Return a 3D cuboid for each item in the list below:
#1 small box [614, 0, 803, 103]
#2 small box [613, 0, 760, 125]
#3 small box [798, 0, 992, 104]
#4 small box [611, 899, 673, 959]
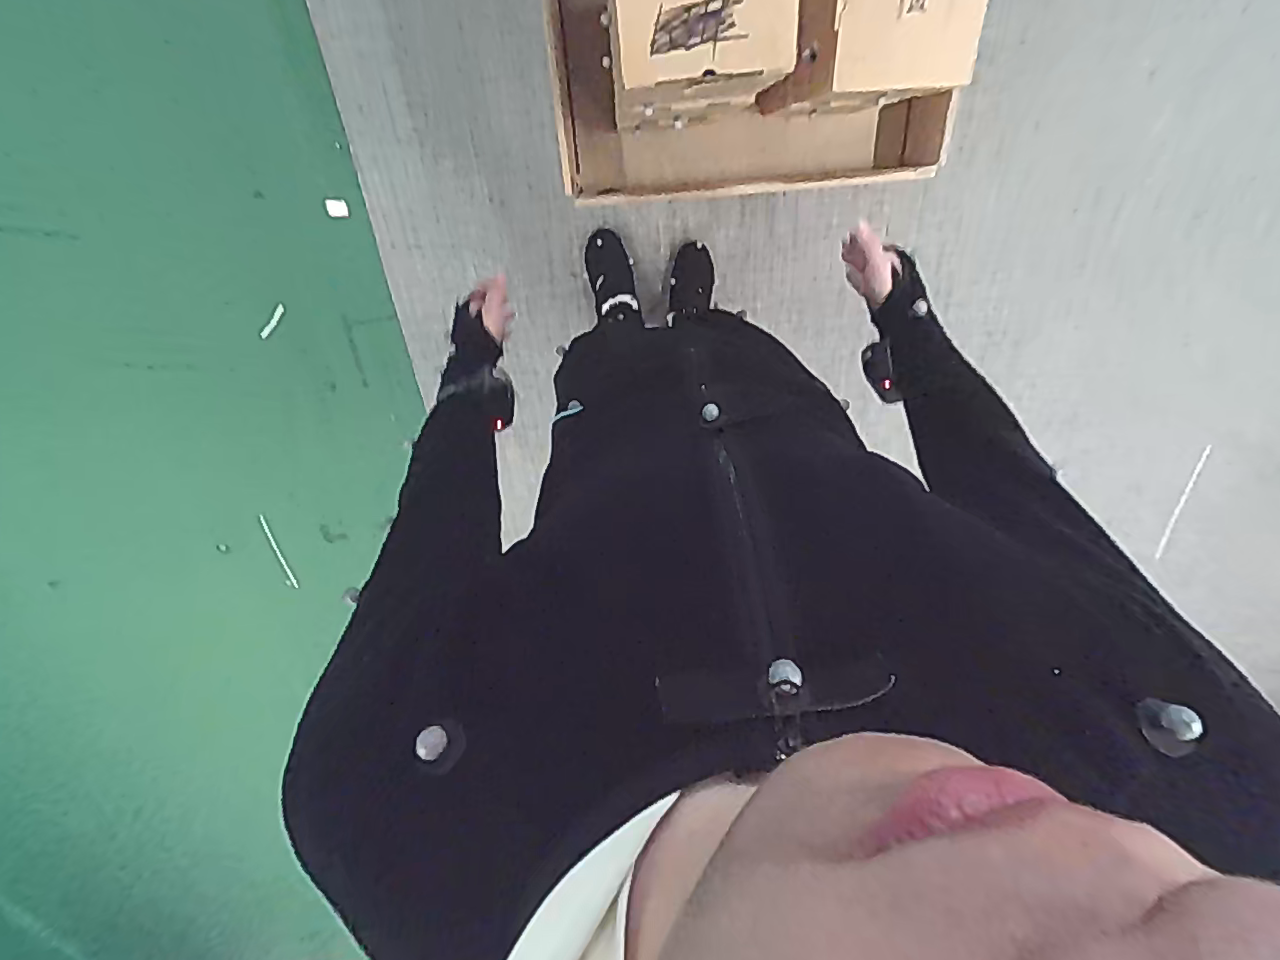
[{"bbox_3d":[0.058,-0.487,0.532,0.168,0.176,0.179,-6,119,0],"label":"small box"},{"bbox_3d":[0.053,-0.562,0.679,0.168,0.176,0.179,-5,119,0],"label":"small box"},{"bbox_3d":[0.313,-0.585,0.684,0.179,0.176,0.168,-4,121,-2],"label":"small box"},{"bbox_3d":[0.010,1.404,1.631,0.179,0.176,0.168,-6,120,1],"label":"small box"}]
